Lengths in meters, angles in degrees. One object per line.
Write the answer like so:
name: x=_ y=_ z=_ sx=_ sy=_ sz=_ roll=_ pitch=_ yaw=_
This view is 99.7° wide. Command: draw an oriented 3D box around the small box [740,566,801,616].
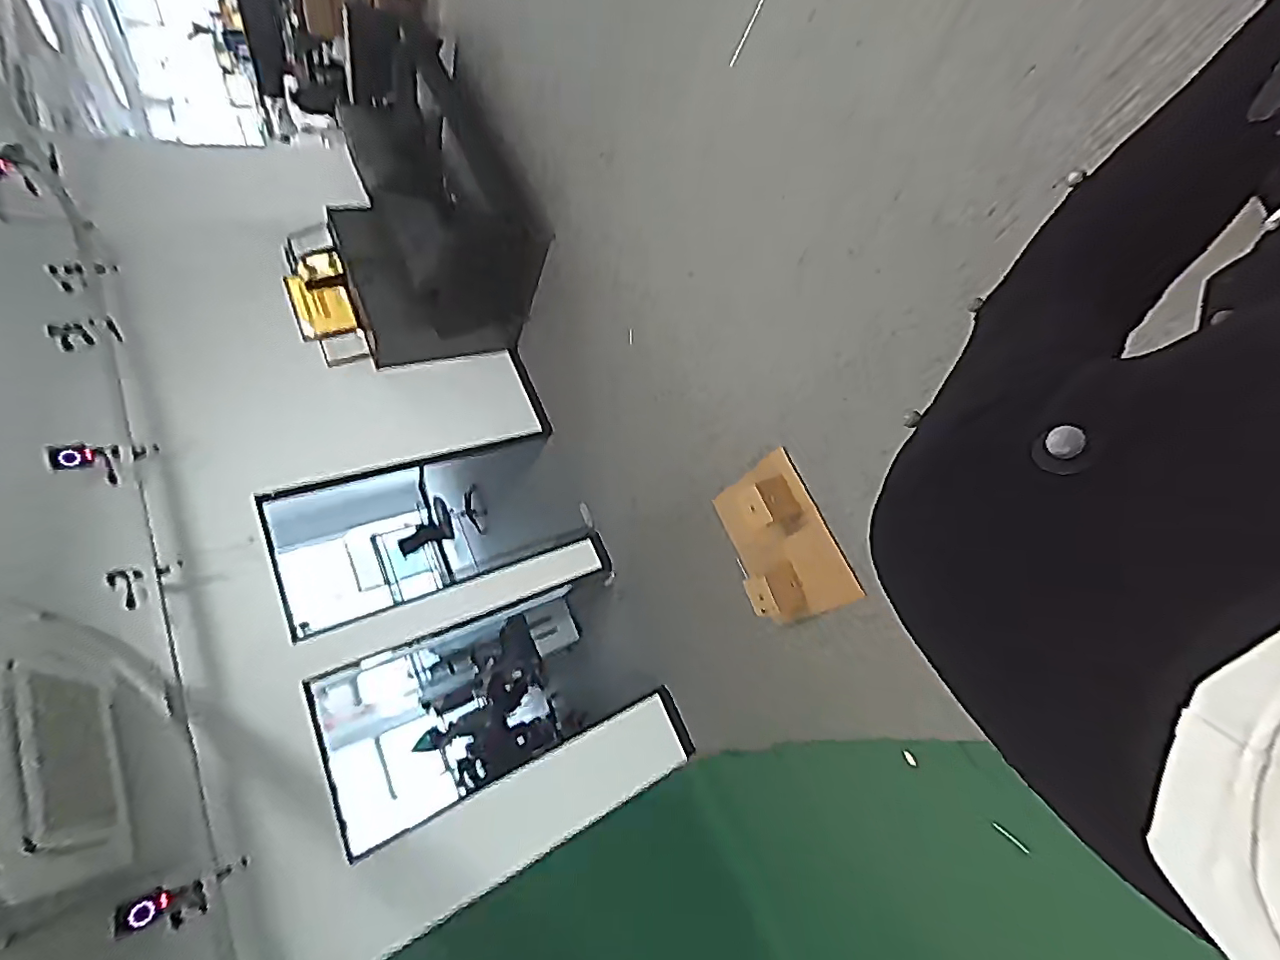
small box: x=0.584 y=0.492 z=2.410 sx=0.168 sy=0.176 sz=0.179 roll=-33 pitch=76 yaw=59

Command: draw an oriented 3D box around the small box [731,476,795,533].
small box: x=0.529 y=0.103 z=2.314 sx=0.179 sy=0.176 sz=0.168 roll=65 pitch=148 yaw=13
